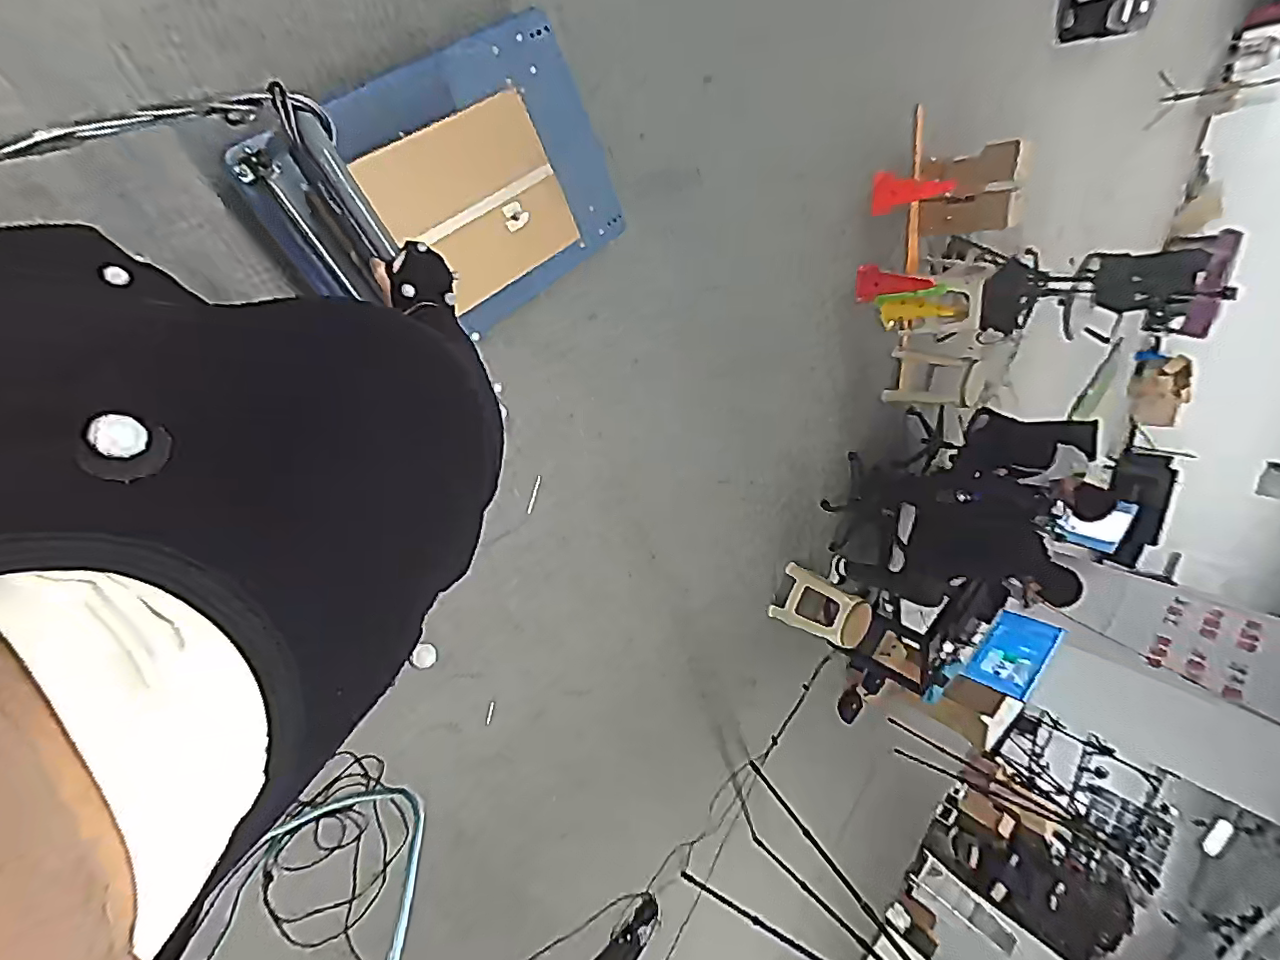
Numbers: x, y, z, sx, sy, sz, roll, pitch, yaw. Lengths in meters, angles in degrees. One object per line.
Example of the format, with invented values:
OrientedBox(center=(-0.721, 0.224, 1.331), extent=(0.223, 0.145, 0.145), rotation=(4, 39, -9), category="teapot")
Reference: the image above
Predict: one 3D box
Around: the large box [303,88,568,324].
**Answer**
OrientedBox(center=(-0.449, -0.592, 1.216), extent=(0.408, 0.320, 0.320), rotation=(-44, 129, -23), category="large box")
